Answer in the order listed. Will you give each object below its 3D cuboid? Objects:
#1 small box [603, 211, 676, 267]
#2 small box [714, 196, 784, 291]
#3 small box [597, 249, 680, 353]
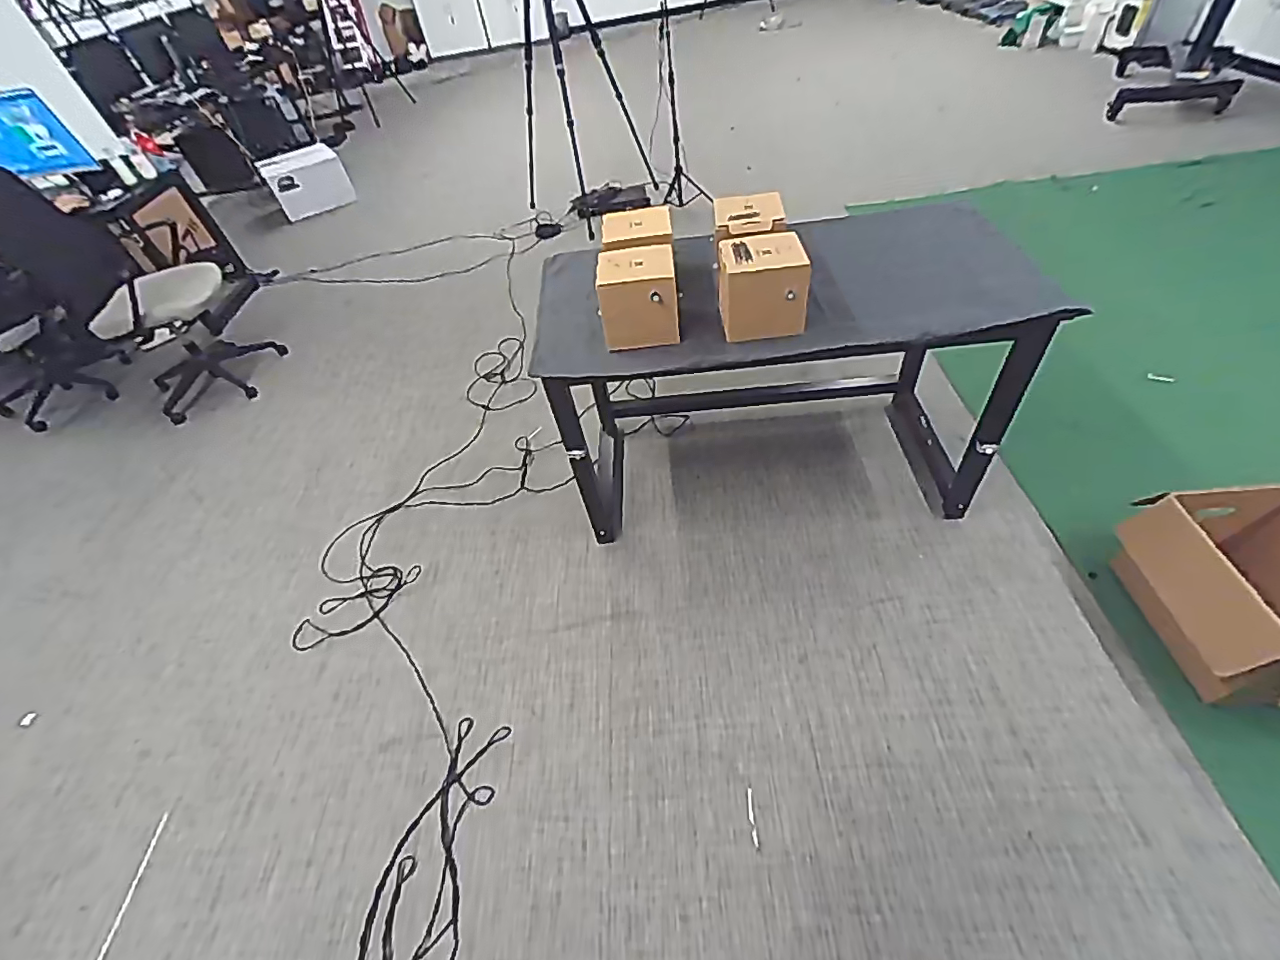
[{"bbox_3d":[0.004,-0.582,1.430,0.179,0.176,0.168,-7,48,5],"label":"small box"},{"bbox_3d":[0.279,-0.603,1.396,0.168,0.176,0.179,-2,47,8],"label":"small box"},{"bbox_3d":[0.002,-0.420,1.276,0.179,0.176,0.168,-6,46,5],"label":"small box"}]
